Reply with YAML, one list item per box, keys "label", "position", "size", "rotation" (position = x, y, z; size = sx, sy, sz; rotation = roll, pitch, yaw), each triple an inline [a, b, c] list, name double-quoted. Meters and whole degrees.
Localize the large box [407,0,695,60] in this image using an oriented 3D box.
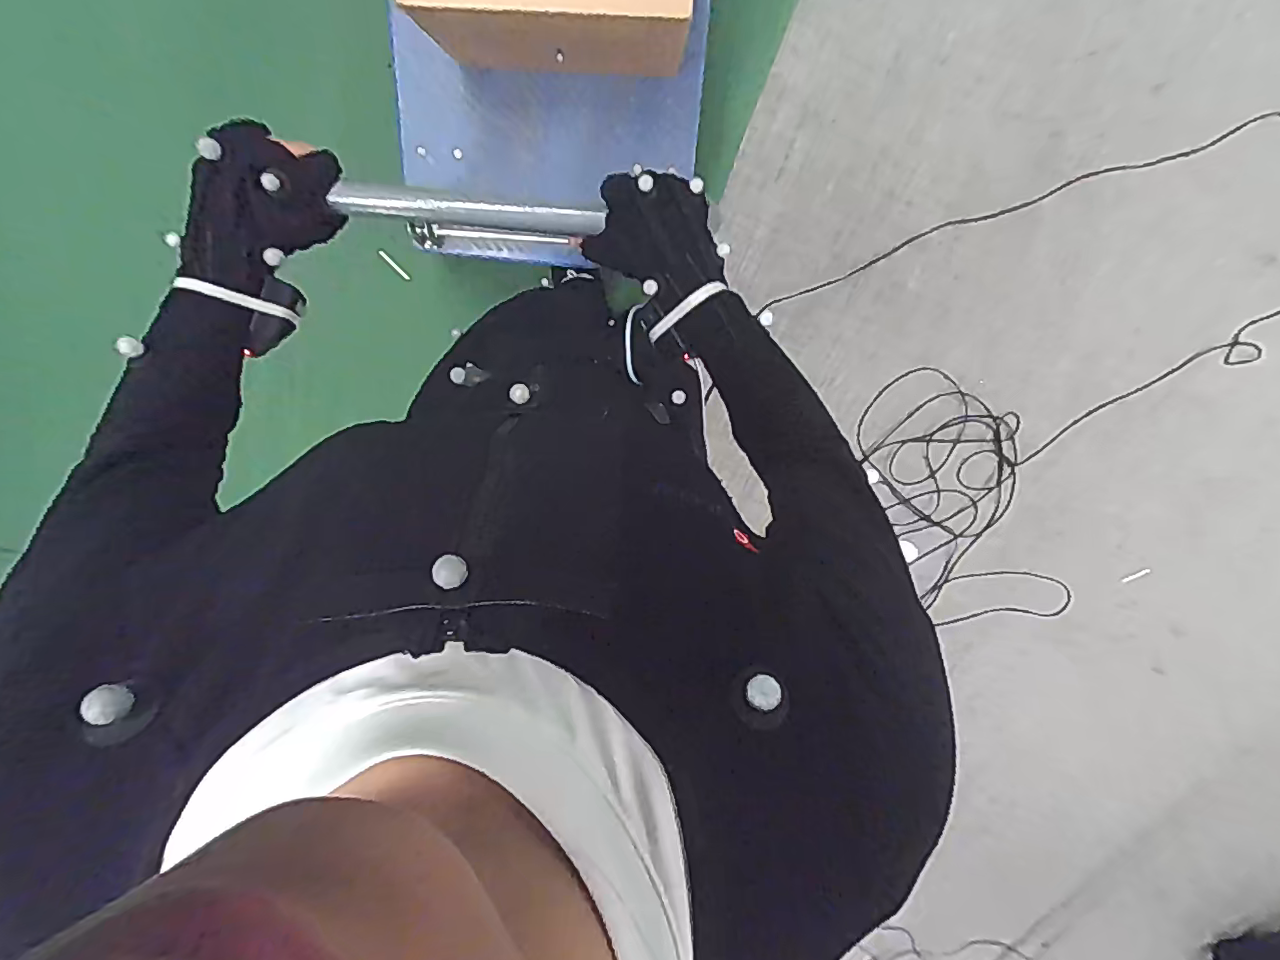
- label: "large box"
  position: [-0.121, -0.856, 0.809]
  size: [0.408, 0.320, 0.320]
  rotation: [1, 115, -1]
